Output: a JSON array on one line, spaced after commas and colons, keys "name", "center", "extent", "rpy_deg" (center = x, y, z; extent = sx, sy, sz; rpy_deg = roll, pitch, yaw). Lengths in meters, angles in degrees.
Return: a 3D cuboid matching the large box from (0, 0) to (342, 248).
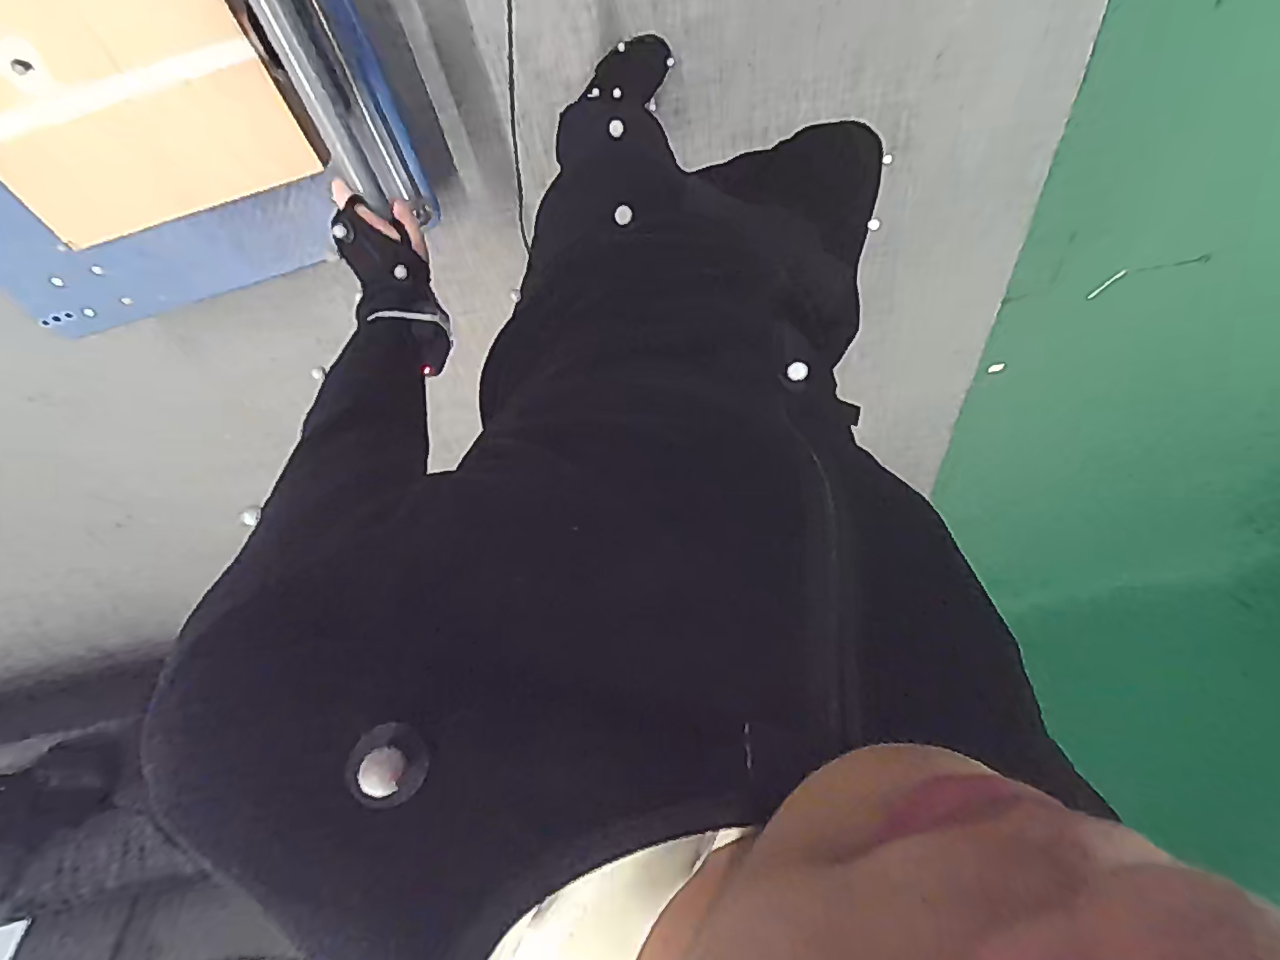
[{"name": "large box", "center": [-0.741, -0.621, 0.817], "extent": [0.408, 0.320, 0.320], "rpy_deg": [-20, 137, -2]}]
